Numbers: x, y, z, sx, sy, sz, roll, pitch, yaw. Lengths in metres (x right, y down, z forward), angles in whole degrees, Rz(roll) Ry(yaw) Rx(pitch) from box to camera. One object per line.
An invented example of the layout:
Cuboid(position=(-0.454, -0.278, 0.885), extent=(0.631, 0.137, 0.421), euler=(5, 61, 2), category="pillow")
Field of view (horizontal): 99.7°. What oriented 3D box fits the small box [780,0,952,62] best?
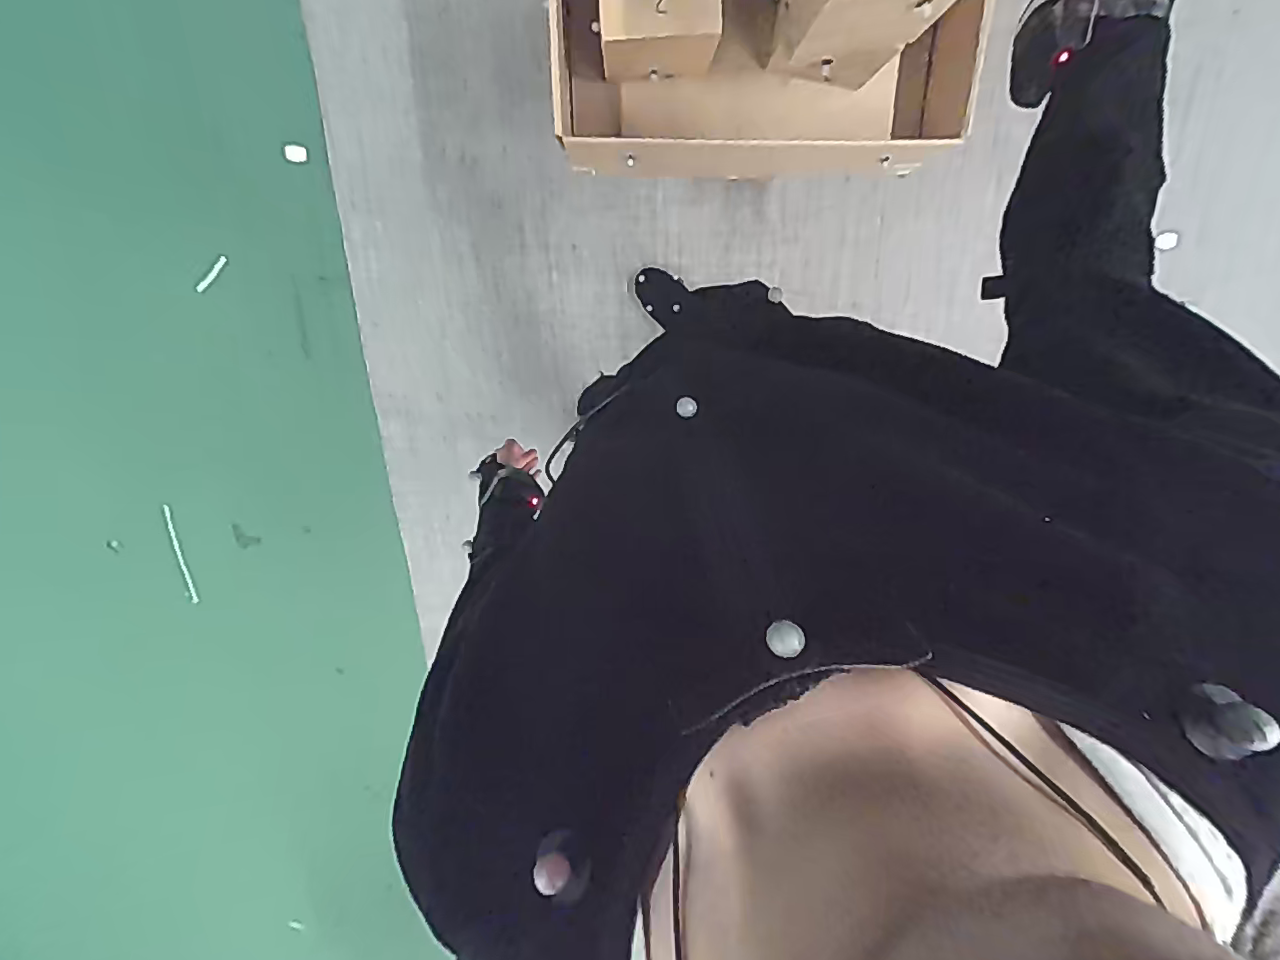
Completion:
Cuboid(position=(0.270, -0.629, 0.631), extent=(0.179, 0.176, 0.168), euler=(-8, 108, 3), category="small box")
